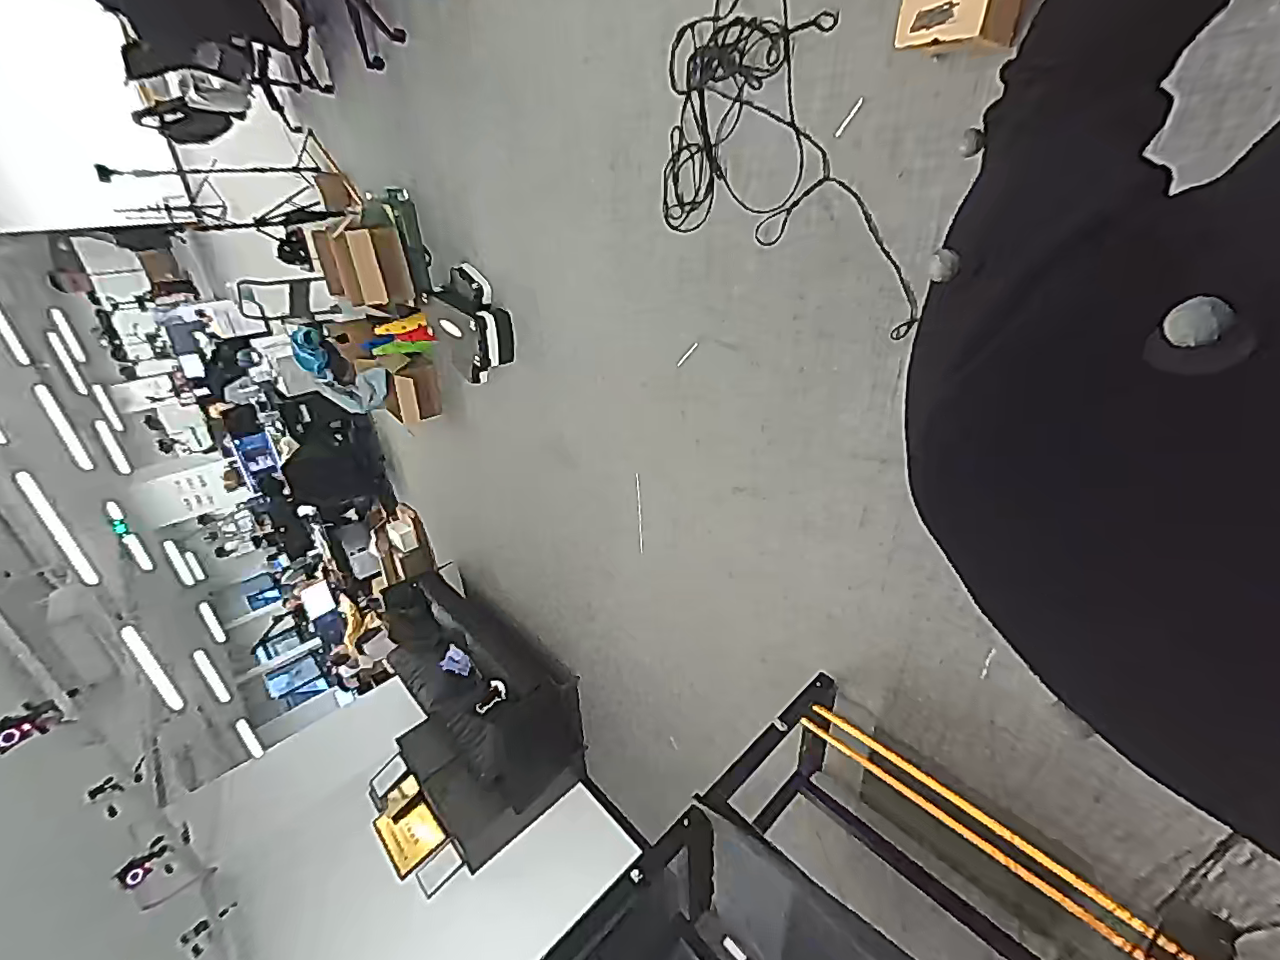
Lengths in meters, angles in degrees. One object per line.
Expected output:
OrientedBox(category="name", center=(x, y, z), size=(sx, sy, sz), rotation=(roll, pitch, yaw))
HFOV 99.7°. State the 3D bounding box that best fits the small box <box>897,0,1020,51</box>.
OrientedBox(category="small box", center=(0.636, -0.959, 1.055), size=(0.168, 0.176, 0.179), rotation=(28, 131, 39))
